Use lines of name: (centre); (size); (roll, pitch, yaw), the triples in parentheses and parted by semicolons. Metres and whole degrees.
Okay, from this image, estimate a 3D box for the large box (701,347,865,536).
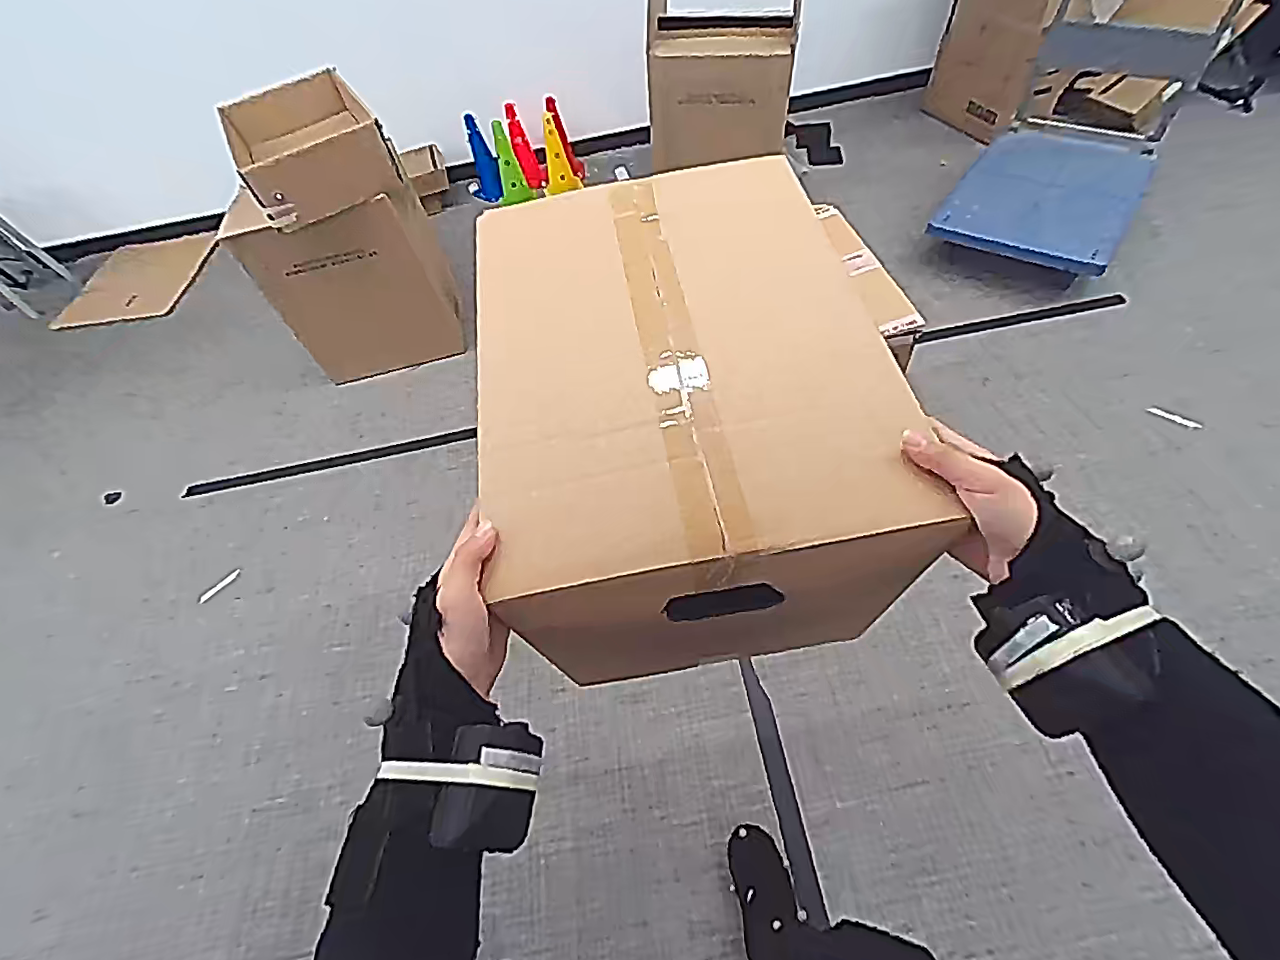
large box: (0.371, -0.108, 1.532); (0.320, 0.320, 0.408); (-12, 54, 0)
